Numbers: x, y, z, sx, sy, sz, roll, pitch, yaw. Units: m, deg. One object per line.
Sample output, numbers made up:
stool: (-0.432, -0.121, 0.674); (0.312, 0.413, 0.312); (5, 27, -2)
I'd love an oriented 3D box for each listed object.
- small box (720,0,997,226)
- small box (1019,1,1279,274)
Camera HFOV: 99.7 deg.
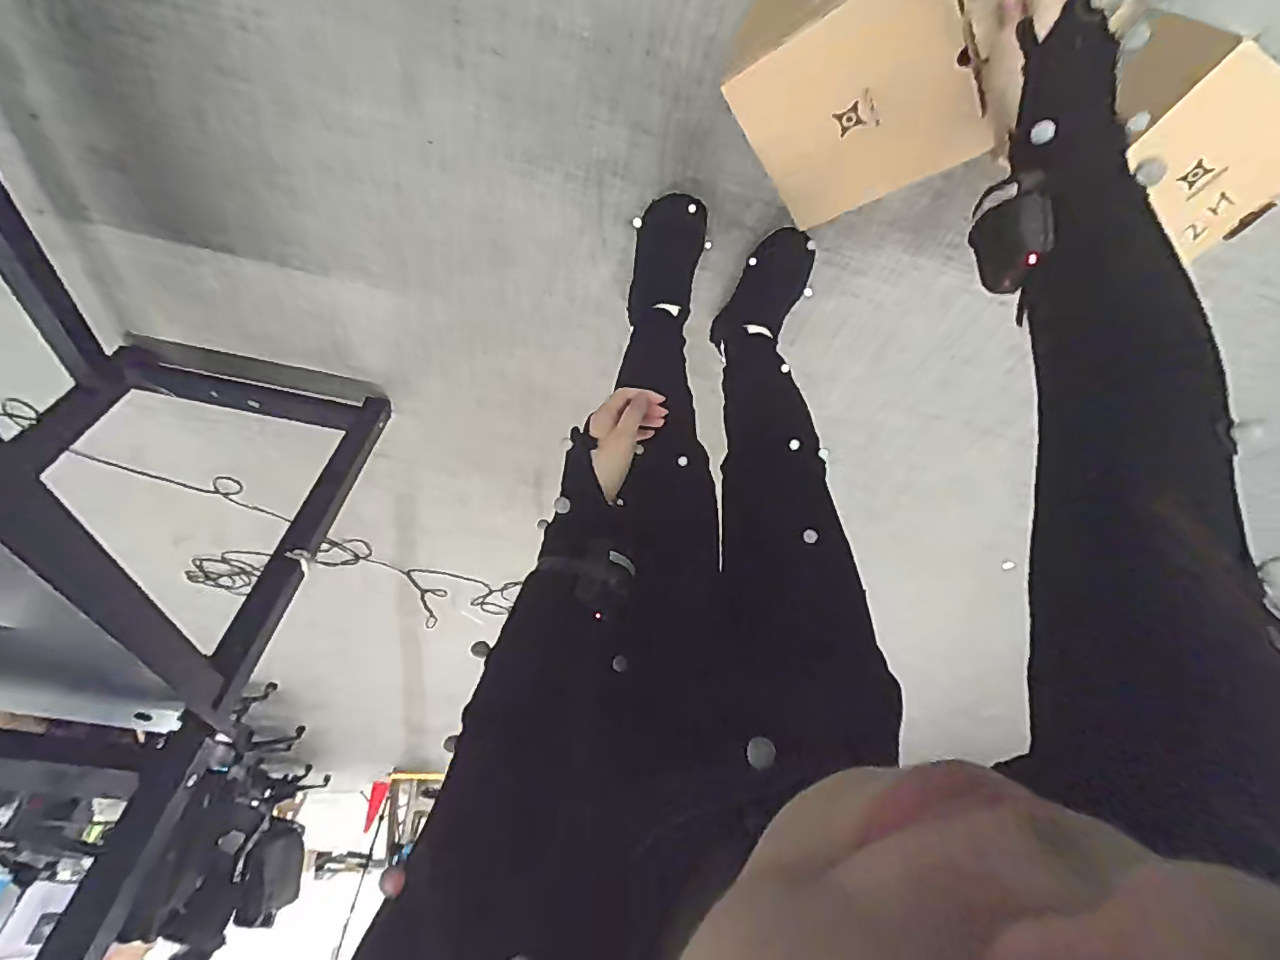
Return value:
small box: (0.198, -0.373, 0.475); (0.179, 0.176, 0.168); (-8, 147, 40)
small box: (0.555, -0.362, 0.573); (0.179, 0.176, 0.168); (20, 138, -16)
